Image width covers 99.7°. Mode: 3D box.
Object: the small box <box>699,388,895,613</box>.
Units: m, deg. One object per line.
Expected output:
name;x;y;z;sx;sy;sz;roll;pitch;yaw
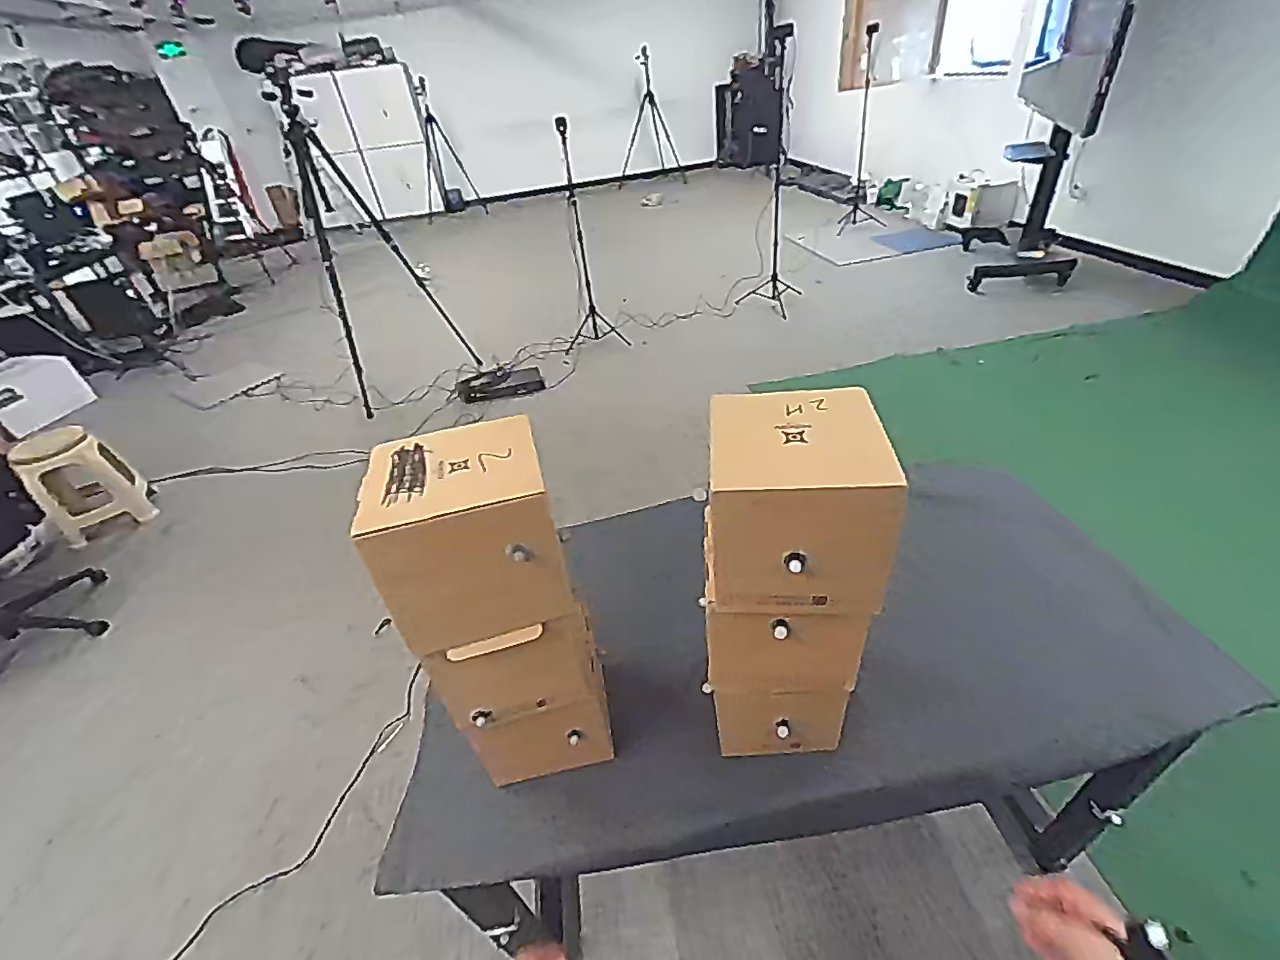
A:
small box;0.152;0.023;0.569;0.168;0.176;0.179;-2;37;9

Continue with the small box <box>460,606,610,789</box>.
small box;-0.145;0.317;0.792;0.179;0.176;0.168;-13;35;-4

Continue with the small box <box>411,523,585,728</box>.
small box;-0.174;0.188;0.692;0.168;0.176;0.179;-14;35;-8

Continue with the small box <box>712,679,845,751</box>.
small box;0.185;0.272;0.782;0.168;0.176;0.179;-6;37;4

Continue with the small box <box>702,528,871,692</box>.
small box;0.169;0.147;0.677;0.179;0.176;0.168;-4;37;8
